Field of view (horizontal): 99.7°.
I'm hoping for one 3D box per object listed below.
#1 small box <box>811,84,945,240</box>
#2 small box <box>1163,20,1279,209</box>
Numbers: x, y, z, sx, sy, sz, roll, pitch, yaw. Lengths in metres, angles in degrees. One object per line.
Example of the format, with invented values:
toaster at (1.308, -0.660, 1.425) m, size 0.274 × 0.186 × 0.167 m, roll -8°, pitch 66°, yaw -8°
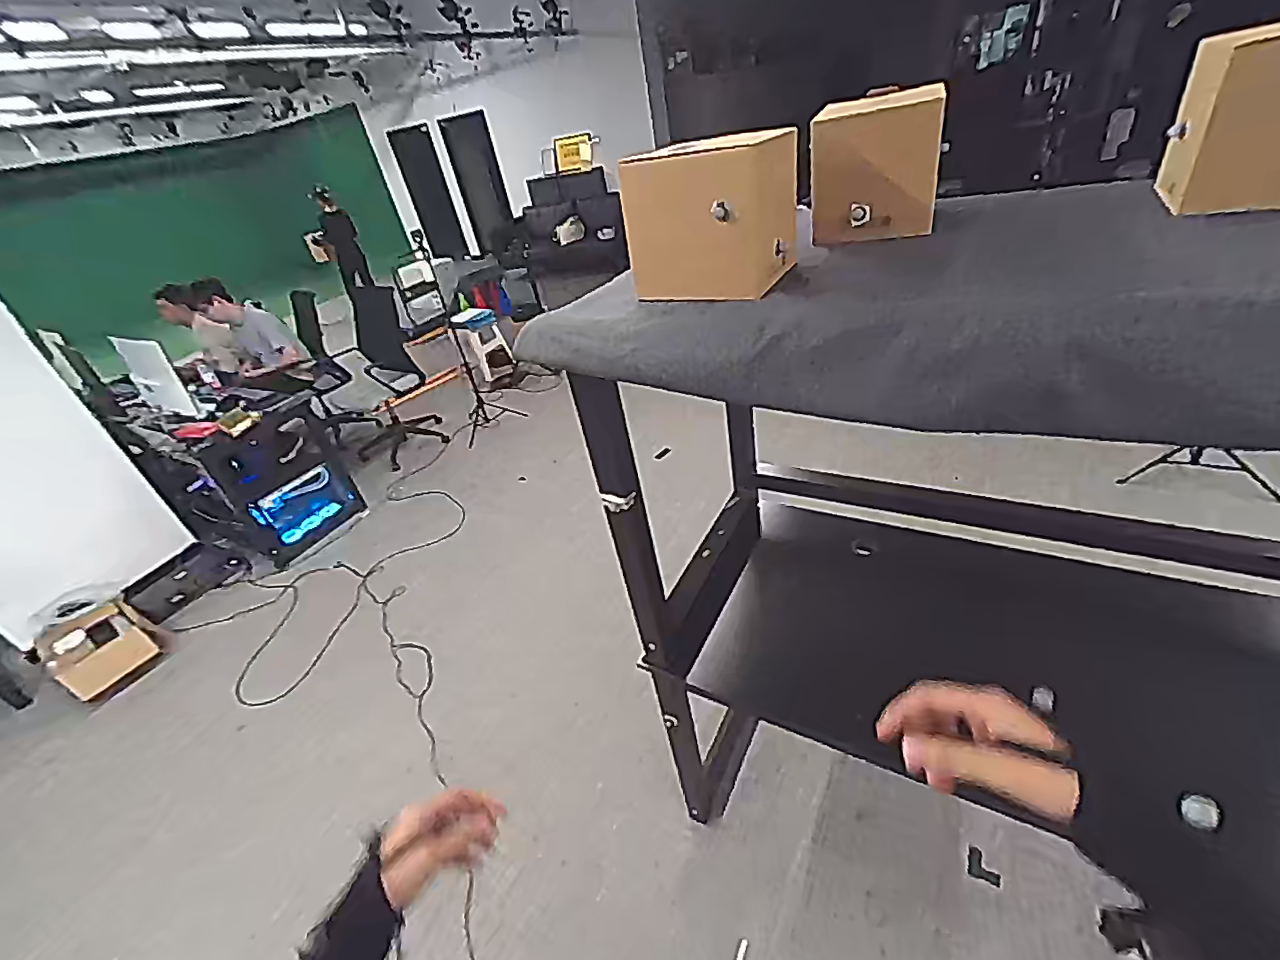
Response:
small box at (0.352, -0.470, 0.808) m, size 0.168 × 0.176 × 0.179 m, roll 5°, pitch 38°, yaw 25°
small box at (0.734, -0.417, 0.610) m, size 0.179 × 0.176 × 0.168 m, roll 10°, pitch 41°, yaw 30°
